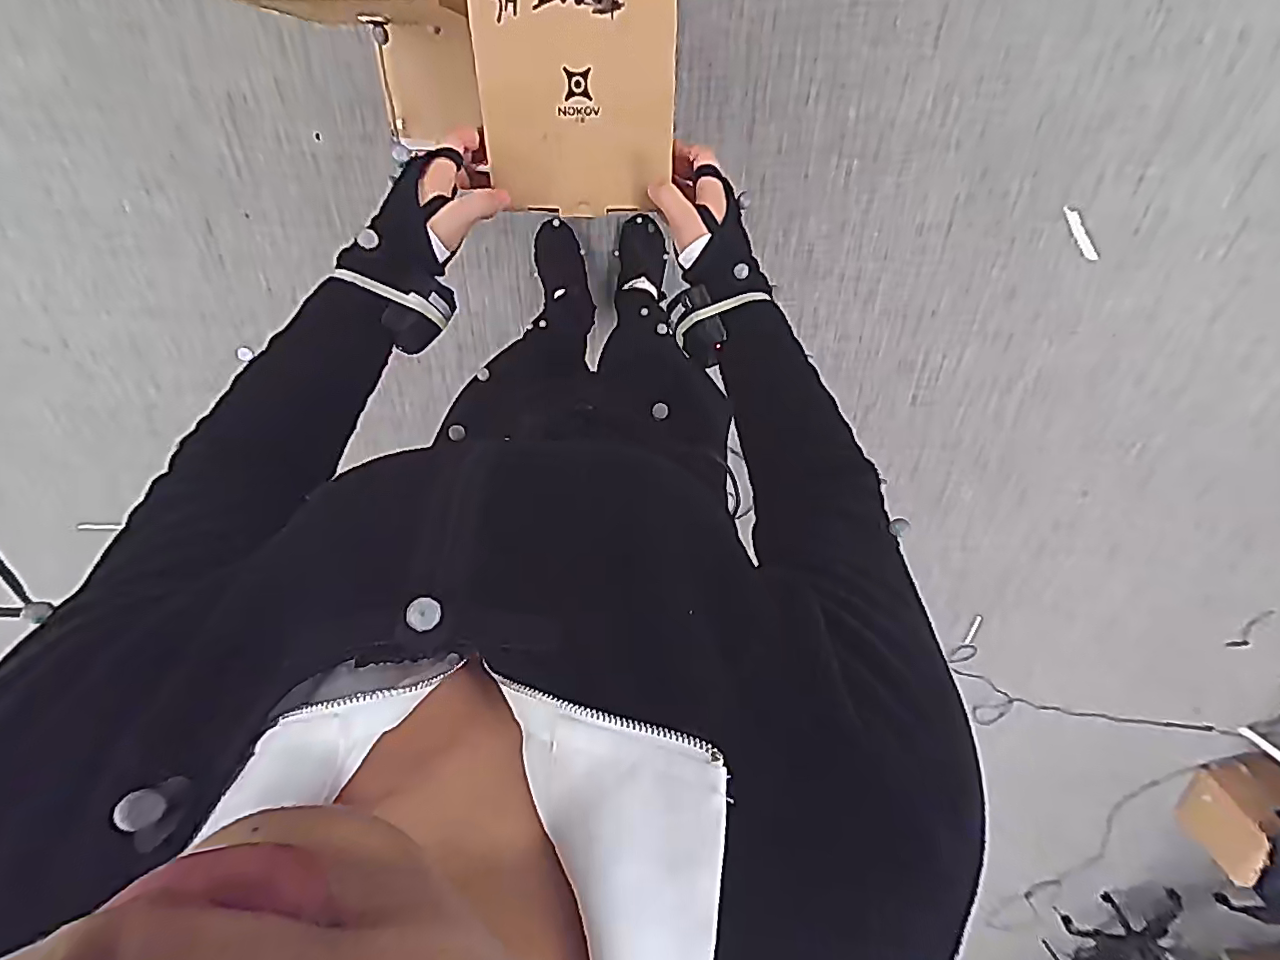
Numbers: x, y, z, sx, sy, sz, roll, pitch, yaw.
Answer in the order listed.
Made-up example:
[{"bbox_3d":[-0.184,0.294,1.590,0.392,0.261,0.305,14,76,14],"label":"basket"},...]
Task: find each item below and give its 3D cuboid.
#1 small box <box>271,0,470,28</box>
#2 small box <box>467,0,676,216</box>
[{"bbox_3d":[-0.242,-0.496,0.442,0.168,0.176,0.179,1,125,2],"label":"small box"},{"bbox_3d":[-0.055,-0.365,0.523,0.168,0.176,0.179,0,123,-1],"label":"small box"}]
